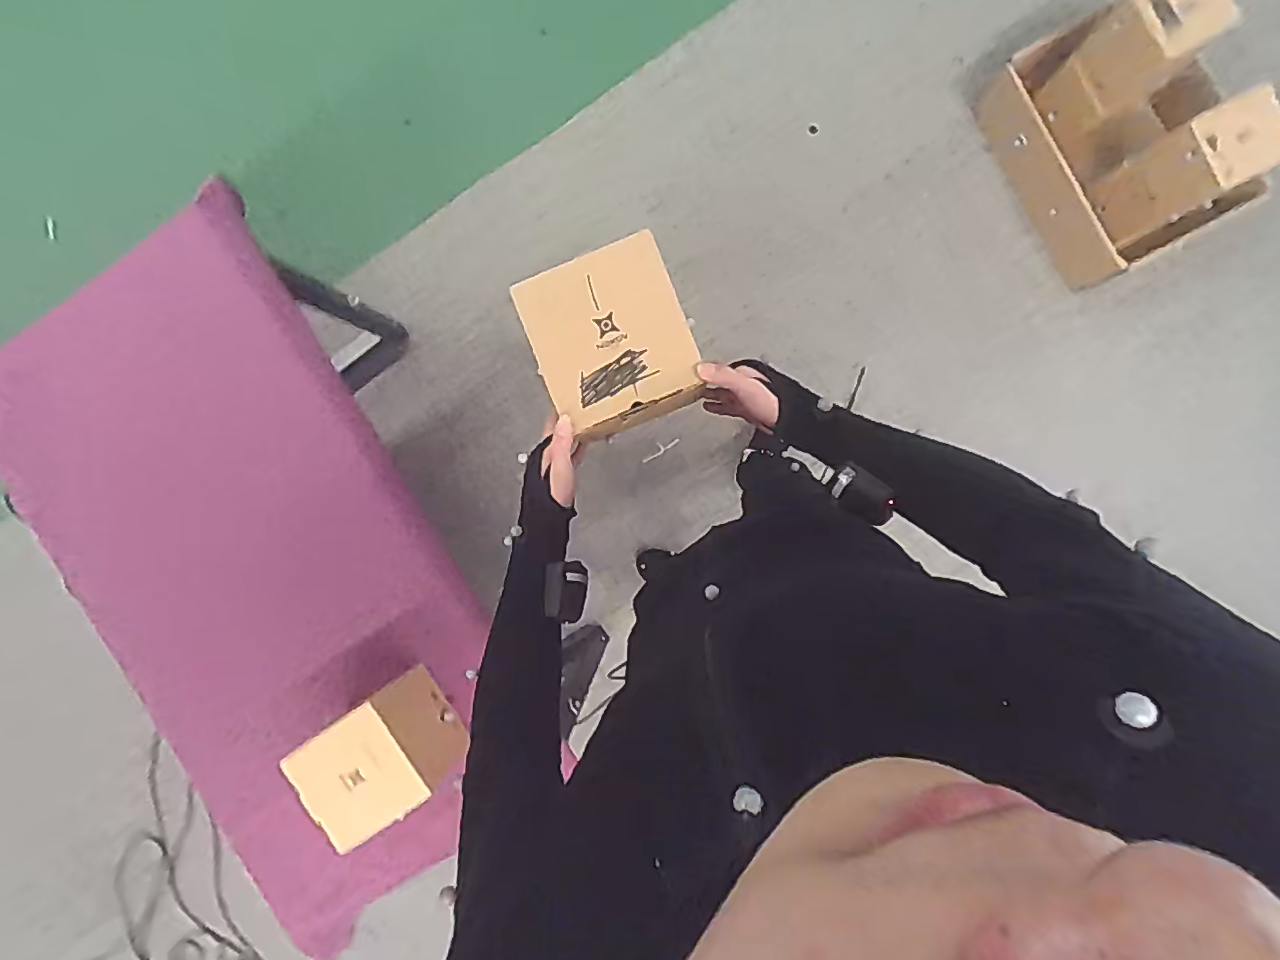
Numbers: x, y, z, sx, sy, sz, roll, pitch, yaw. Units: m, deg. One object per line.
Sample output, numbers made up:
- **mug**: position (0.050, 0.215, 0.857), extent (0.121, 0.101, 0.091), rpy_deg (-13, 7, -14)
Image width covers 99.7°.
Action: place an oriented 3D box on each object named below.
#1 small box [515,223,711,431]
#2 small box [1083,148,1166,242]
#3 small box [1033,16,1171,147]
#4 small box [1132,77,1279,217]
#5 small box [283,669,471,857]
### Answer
- **small box**: position (-0.023, -0.164, 0.648), extent (0.168, 0.176, 0.179), rpy_deg (-21, 89, 3)
- **small box**: position (1.299, -0.744, 1.375), extent (0.179, 0.176, 0.168), rpy_deg (-27, 88, 5)
- **small box**: position (1.166, -1.004, 1.379), extent (0.179, 0.176, 0.168), rpy_deg (-28, 89, 4)
- **small box**: position (1.284, -0.735, 1.213), extent (0.179, 0.176, 0.168), rpy_deg (-28, 89, 1)
- **small box**: position (-0.407, 0.440, 0.868), extent (0.179, 0.176, 0.168), rpy_deg (-35, 89, 4)
